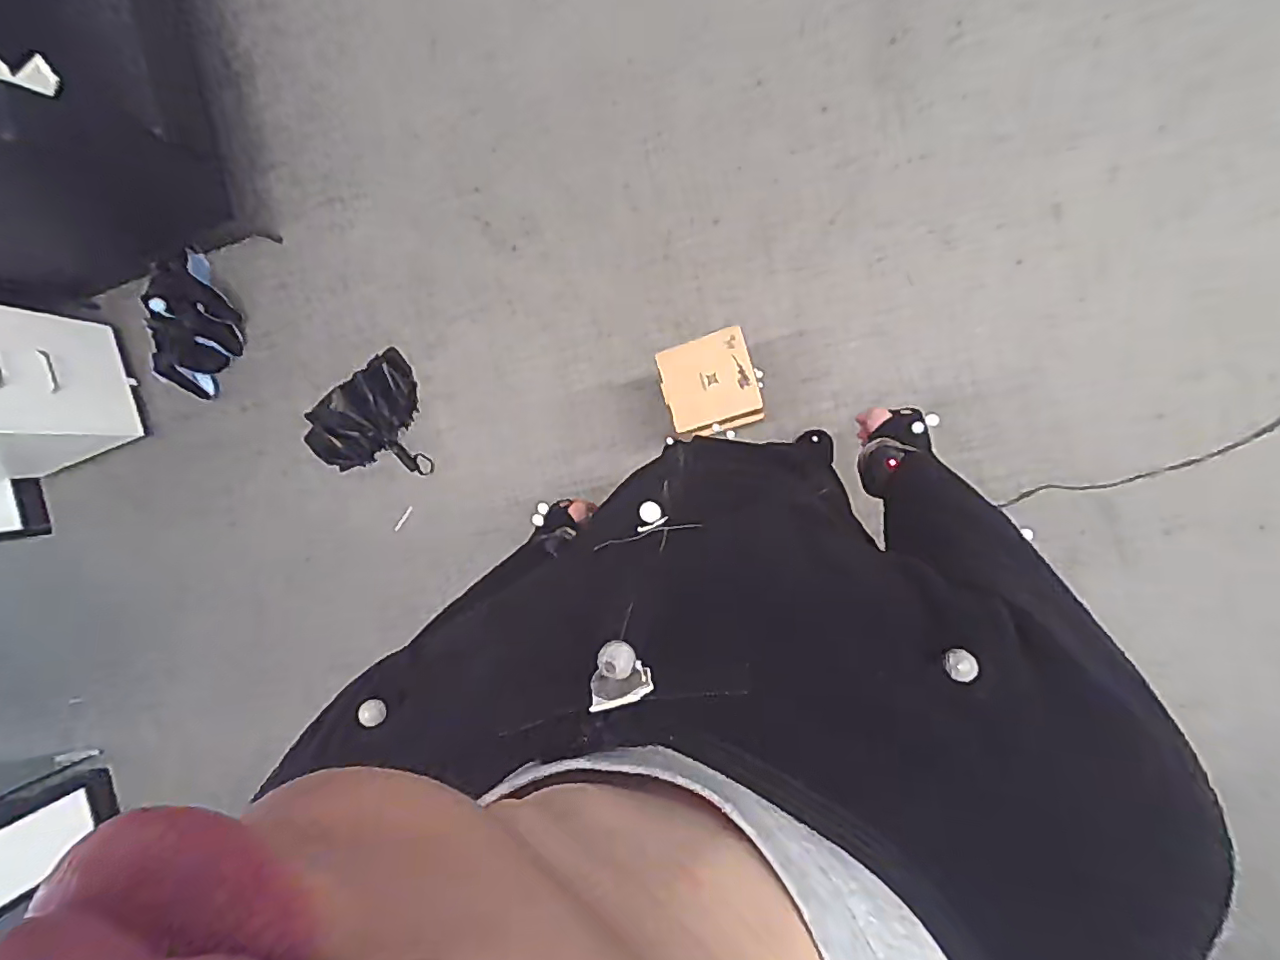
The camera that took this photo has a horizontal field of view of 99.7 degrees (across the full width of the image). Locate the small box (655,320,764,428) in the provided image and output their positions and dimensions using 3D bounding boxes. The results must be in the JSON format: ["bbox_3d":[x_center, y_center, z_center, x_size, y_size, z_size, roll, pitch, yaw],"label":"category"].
[{"bbox_3d":[0.150,-0.208,1.118,0.179,0.176,0.168,-16,90,15],"label":"small box"}]

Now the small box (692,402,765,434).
[{"bbox_3d":[0.193,-0.213,1.276,0.168,0.176,0.179,-16,91,15],"label":"small box"}]
